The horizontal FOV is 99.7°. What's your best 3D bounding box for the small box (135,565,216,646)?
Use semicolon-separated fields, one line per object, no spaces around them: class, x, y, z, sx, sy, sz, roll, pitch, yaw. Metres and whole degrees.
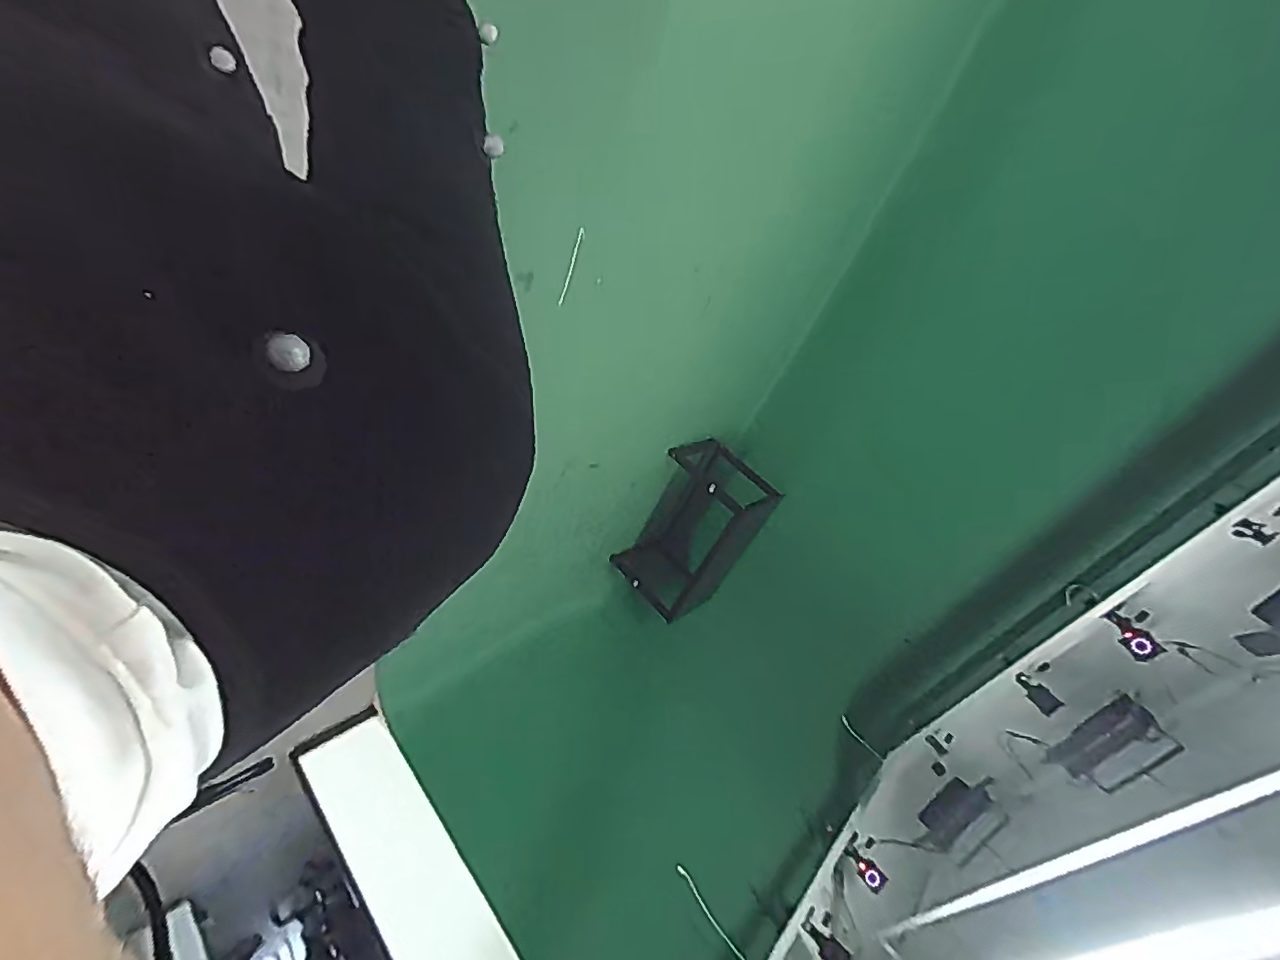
small box;-1.574;0.419;1.831;0.179;0.176;0.168;-18;145;-47
